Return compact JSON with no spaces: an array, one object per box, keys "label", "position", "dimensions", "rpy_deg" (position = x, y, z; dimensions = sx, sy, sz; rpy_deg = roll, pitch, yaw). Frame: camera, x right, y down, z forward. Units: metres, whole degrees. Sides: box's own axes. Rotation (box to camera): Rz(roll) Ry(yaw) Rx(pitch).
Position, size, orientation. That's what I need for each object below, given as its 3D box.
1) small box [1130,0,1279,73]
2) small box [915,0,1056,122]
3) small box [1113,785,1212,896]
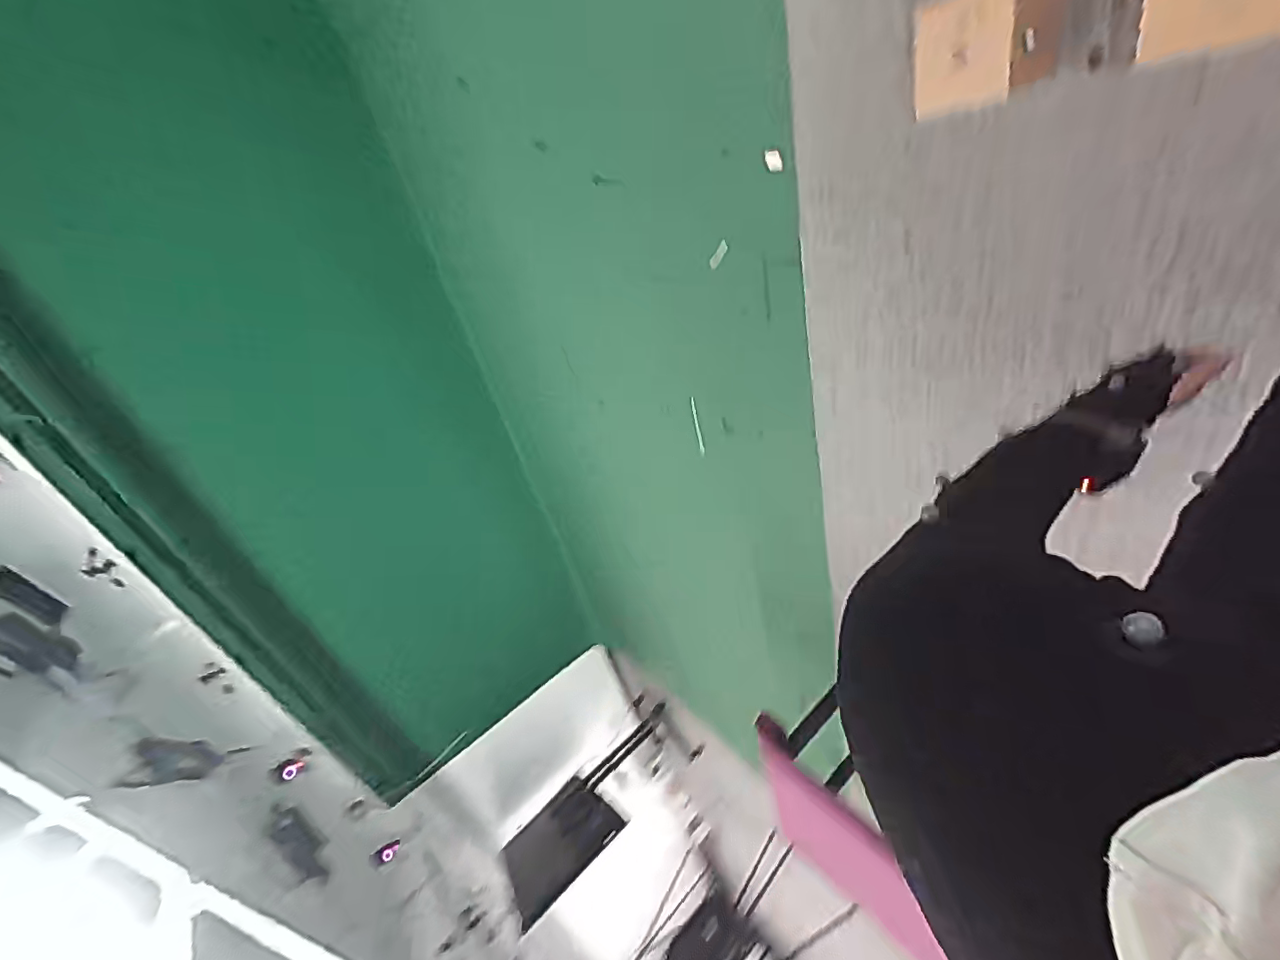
[{"label":"small box","position":[0.832,-0.704,0.750],"dimensions":[0.168,0.176,0.179],"rpy_deg":[26,141,48]},{"label":"small box","position":[0.633,-0.793,0.996],"dimensions":[0.168,0.176,0.179],"rpy_deg":[24,140,48]},{"label":"small box","position":[1.518,1.039,1.573],"dimensions":[0.168,0.176,0.179],"rpy_deg":[20,137,52]}]
